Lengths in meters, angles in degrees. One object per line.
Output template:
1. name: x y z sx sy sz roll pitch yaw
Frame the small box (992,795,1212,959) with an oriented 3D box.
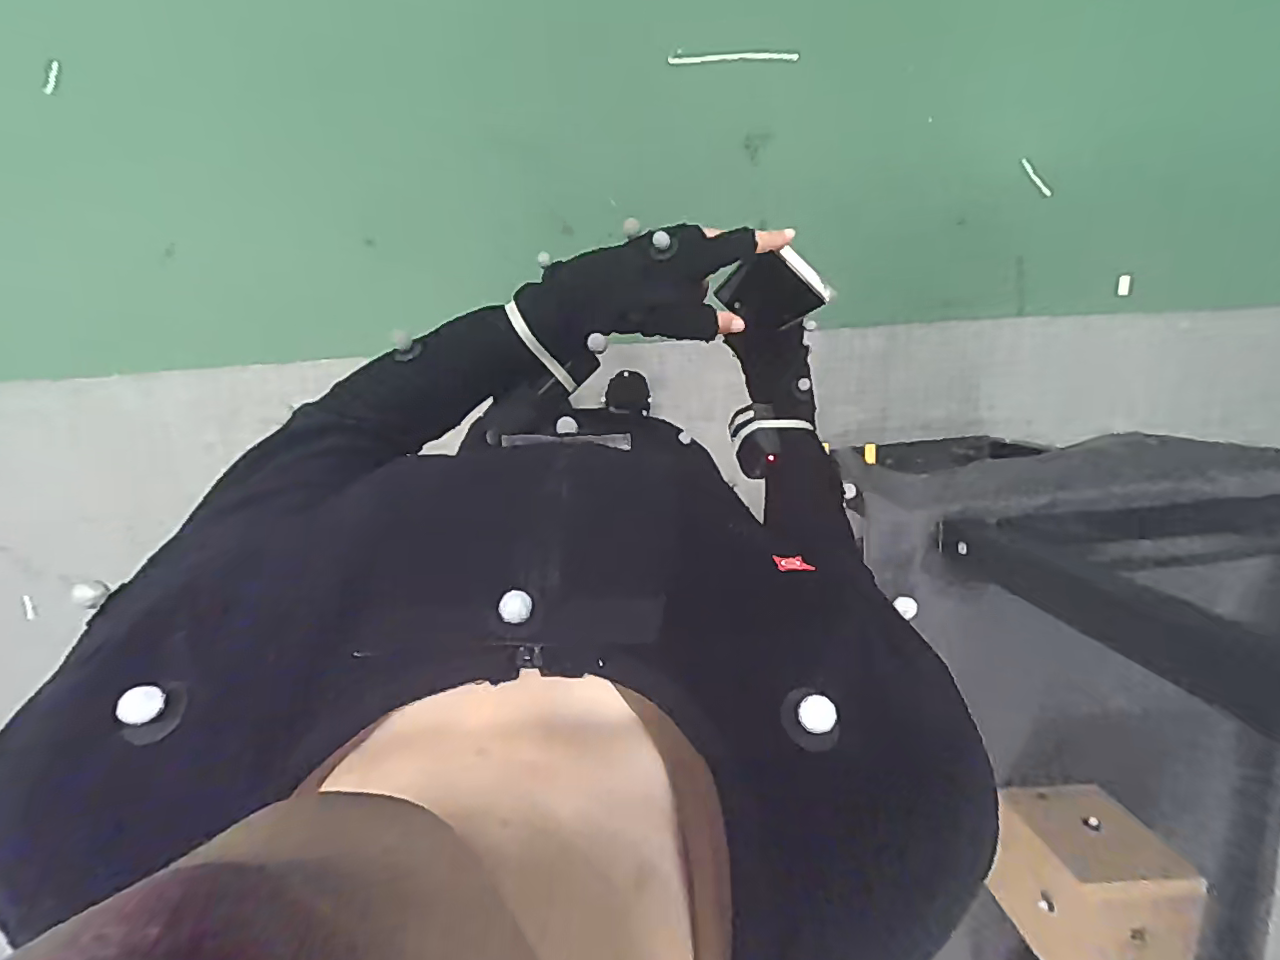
1. small box: 0.639 0.578 0.771 0.168 0.176 0.179 -1 100 -1
